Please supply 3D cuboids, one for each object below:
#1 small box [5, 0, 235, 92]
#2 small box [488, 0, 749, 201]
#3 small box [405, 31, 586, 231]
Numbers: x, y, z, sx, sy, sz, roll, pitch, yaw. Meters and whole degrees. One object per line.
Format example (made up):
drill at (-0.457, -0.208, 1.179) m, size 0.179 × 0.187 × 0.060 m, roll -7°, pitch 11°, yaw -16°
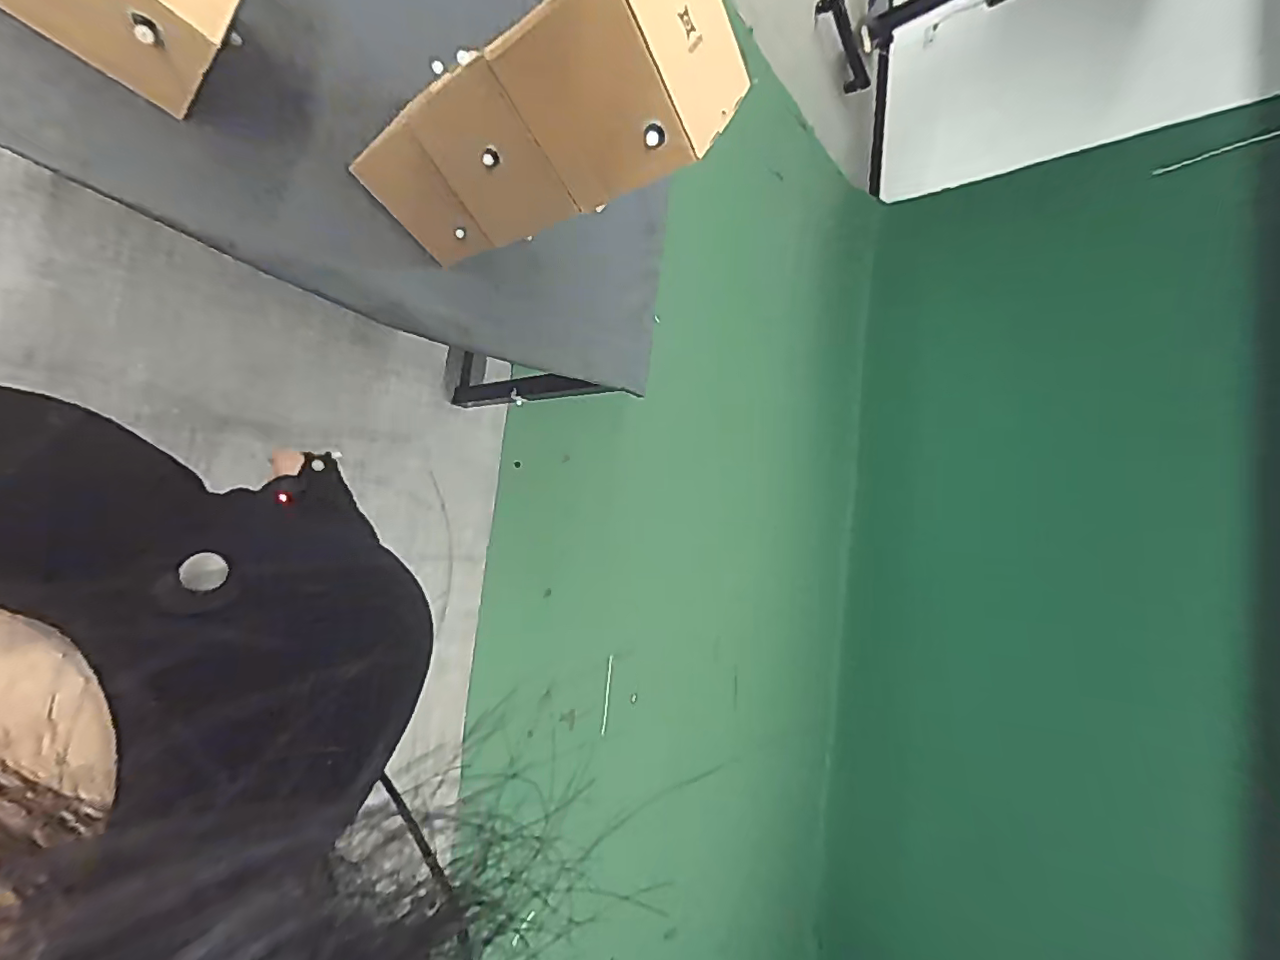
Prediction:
small box at (-0.490, -0.509, 0.502) m, size 0.179 × 0.176 × 0.168 m, roll 24°, pitch 73°, yaw -47°
small box at (-0.018, -0.426, 0.551) m, size 0.179 × 0.176 × 0.168 m, roll 51°, pitch 55°, yaw -39°
small box at (-0.140, -0.430, 0.659) m, size 0.179 × 0.176 × 0.168 m, roll 52°, pitch 54°, yaw -36°
